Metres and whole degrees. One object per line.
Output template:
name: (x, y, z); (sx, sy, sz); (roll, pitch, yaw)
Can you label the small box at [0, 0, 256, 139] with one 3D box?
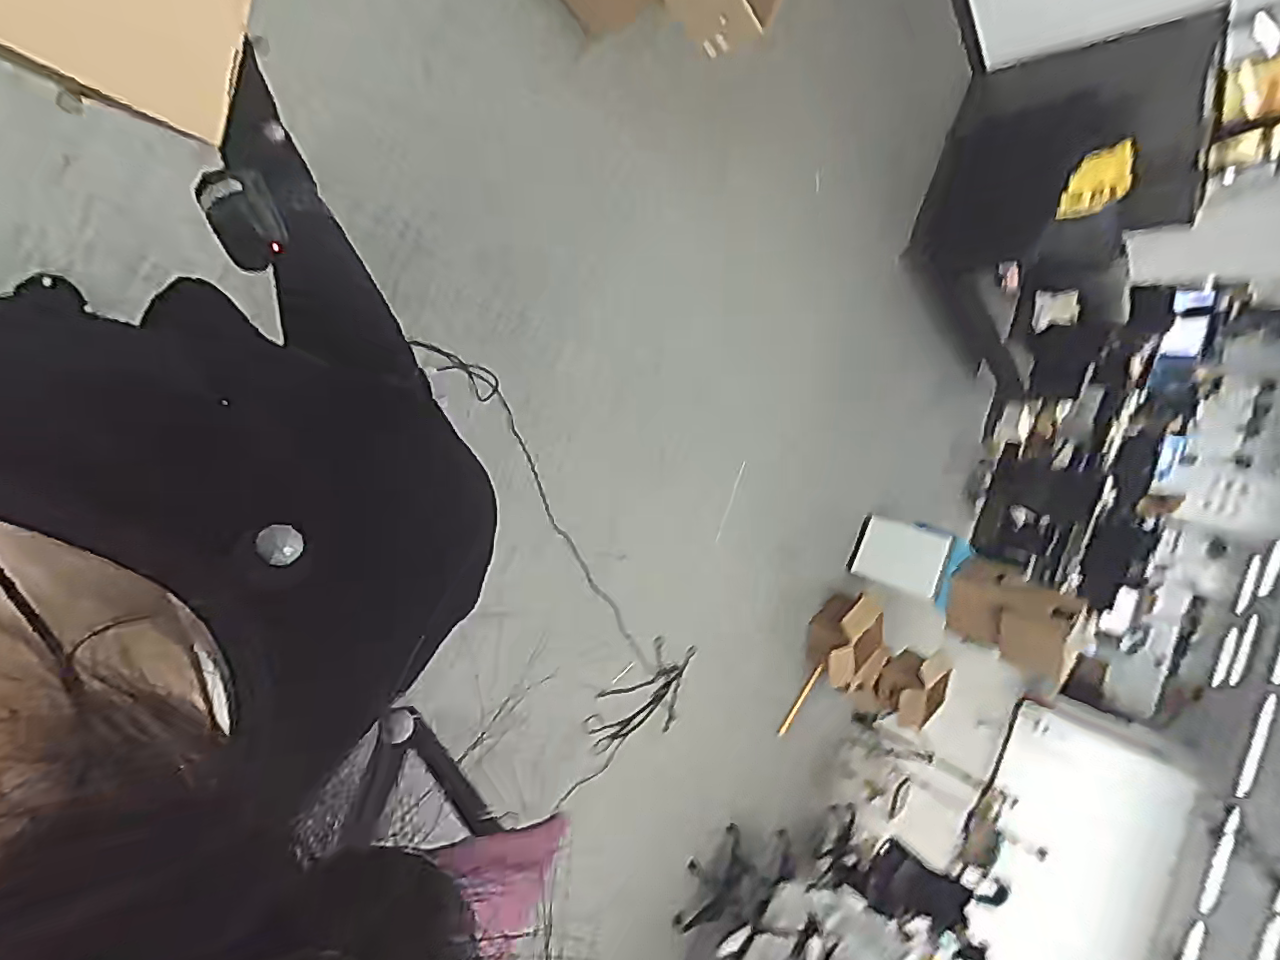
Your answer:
small box: (-0.335, -0.320, 0.276); (0.168, 0.176, 0.179); (-68, 161, 10)
